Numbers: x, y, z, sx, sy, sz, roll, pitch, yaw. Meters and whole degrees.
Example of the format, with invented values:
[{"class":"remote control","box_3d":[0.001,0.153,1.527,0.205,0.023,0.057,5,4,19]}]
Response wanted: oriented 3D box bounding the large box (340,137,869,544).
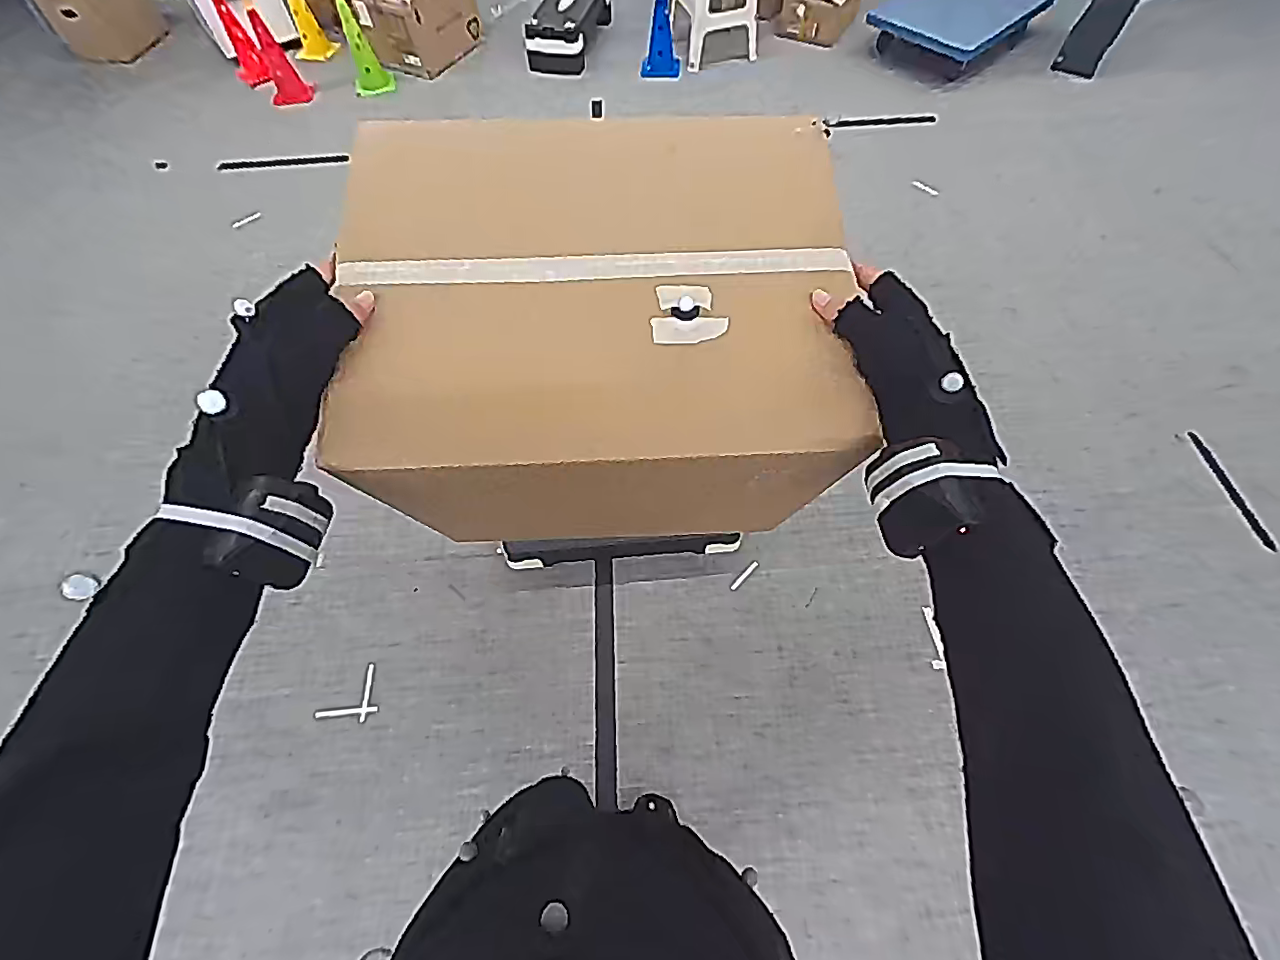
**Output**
[{"class":"large box","box_3d":[-0.036,-0.117,0.586,0.408,0.320,0.320,-2,74,-2]}]
